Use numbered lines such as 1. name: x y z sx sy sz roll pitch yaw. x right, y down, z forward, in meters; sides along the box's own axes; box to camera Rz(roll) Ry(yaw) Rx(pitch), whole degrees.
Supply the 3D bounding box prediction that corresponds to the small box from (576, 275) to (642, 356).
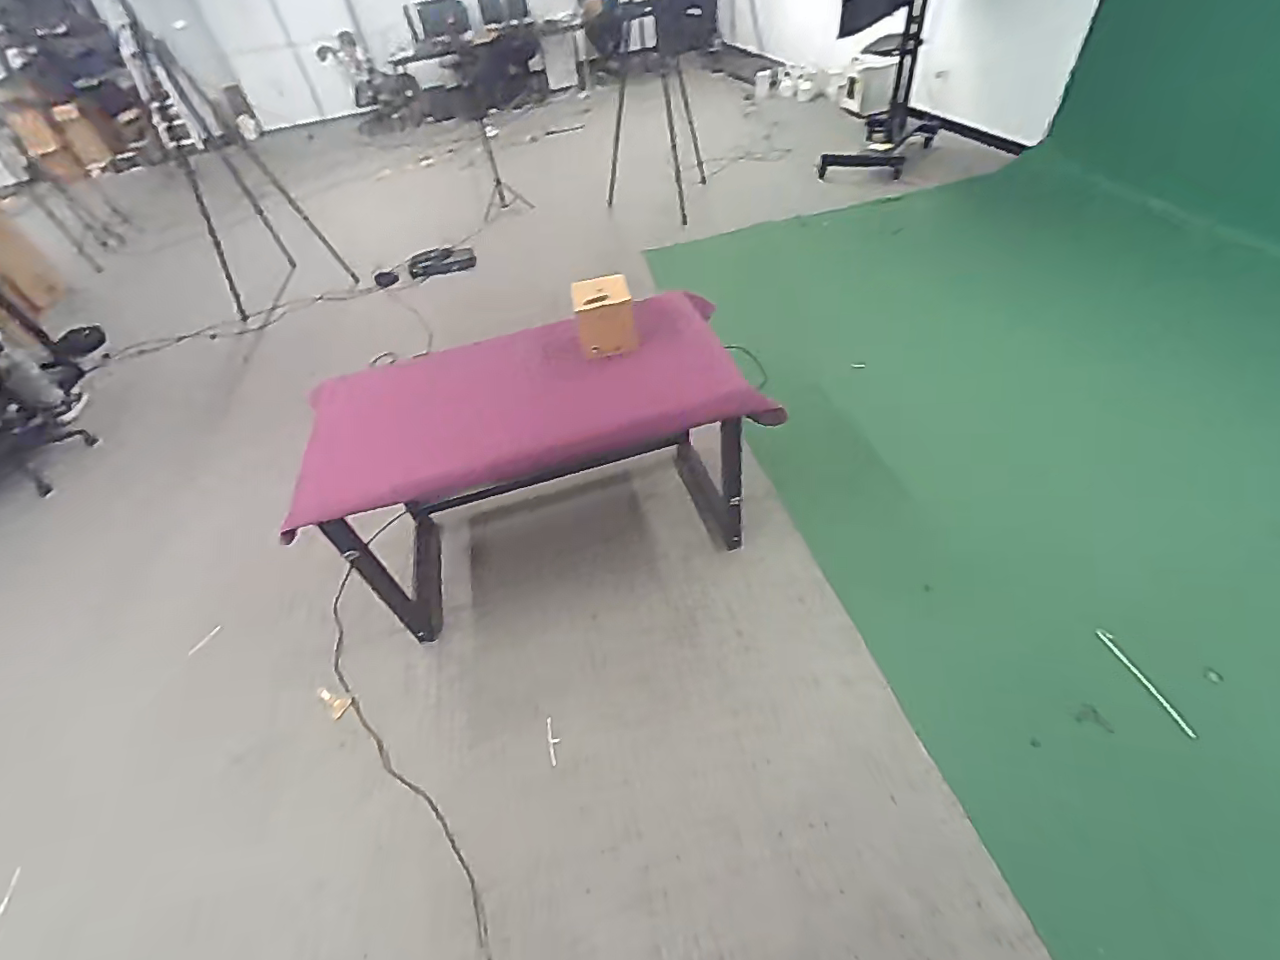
1. small box: -0.093 -0.489 1.636 0.168 0.176 0.179 -11 45 0
